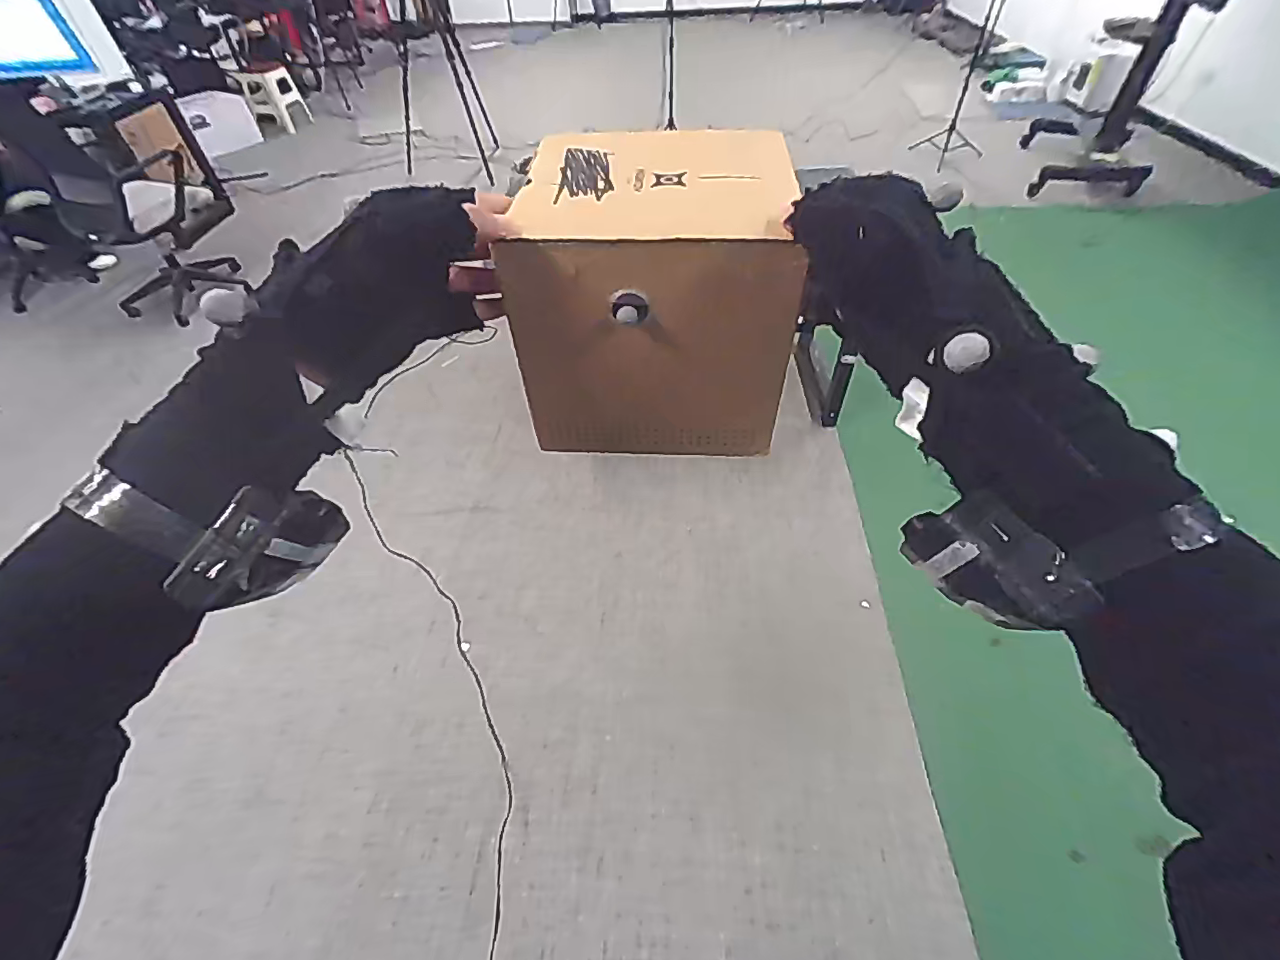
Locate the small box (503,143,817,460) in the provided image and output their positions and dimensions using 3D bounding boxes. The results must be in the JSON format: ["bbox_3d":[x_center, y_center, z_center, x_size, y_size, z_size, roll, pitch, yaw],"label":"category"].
[{"bbox_3d":[0.018,-0.130,0.404,0.179,0.176,0.168,2,50,4],"label":"small box"}]
